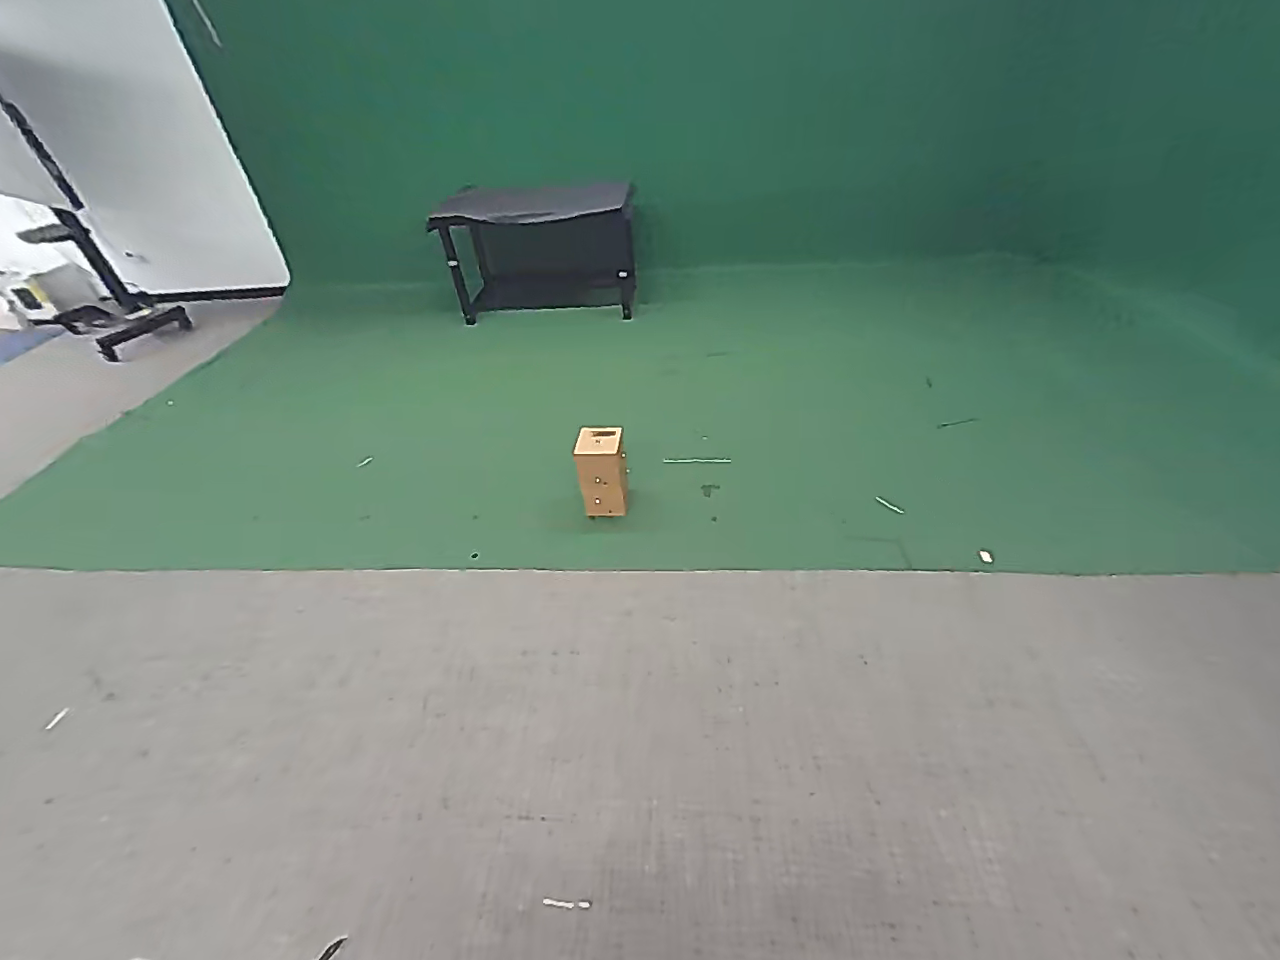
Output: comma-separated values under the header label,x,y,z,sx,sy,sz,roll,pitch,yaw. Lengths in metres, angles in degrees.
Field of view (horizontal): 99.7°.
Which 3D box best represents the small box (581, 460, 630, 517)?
label,x,y,z,sx,sy,sz,roll,pitch,yaw
small box,-0.135,0.038,2.231,0.168,0.176,0.179,0,39,7
